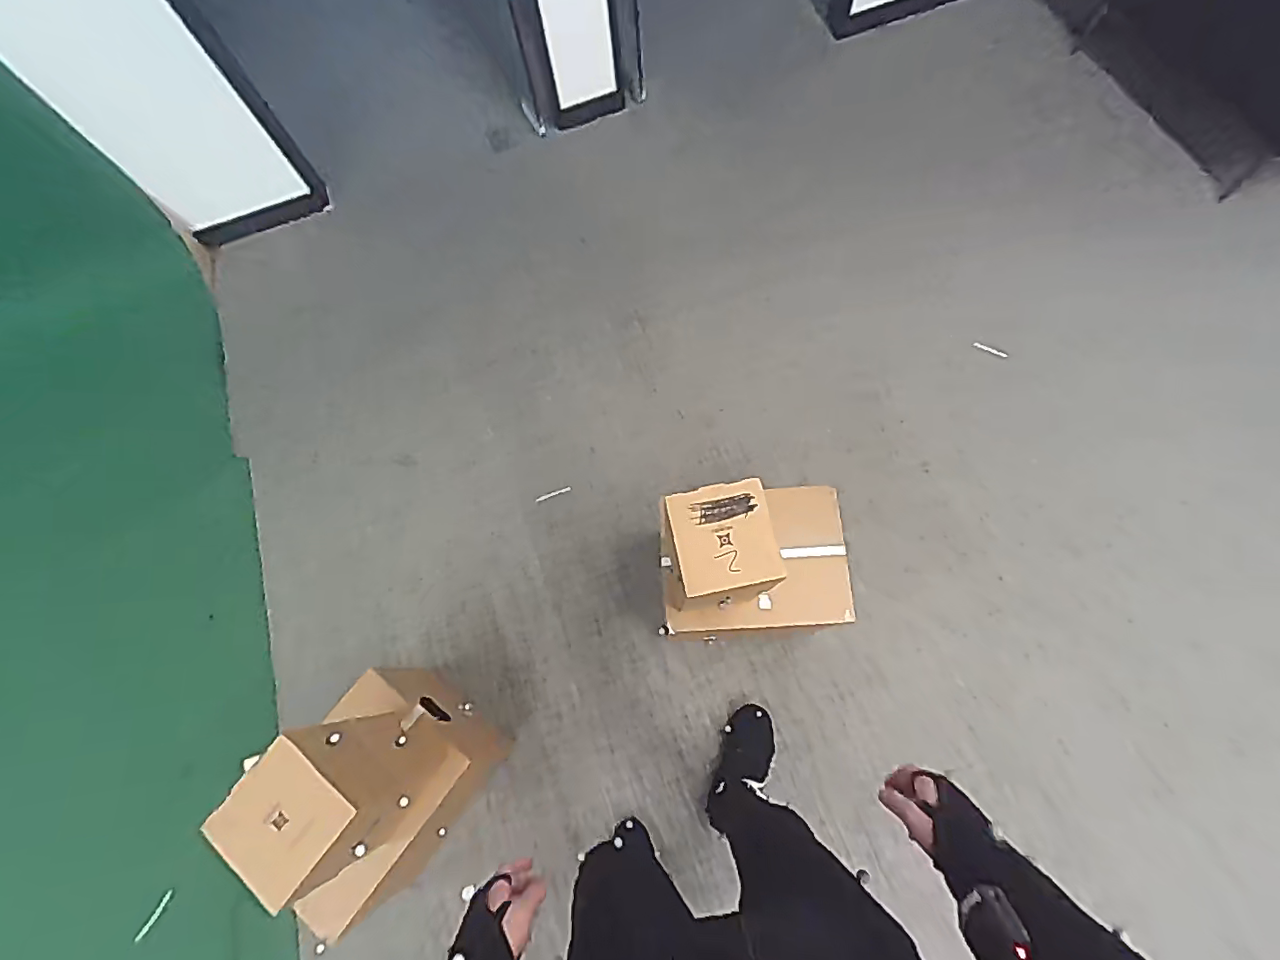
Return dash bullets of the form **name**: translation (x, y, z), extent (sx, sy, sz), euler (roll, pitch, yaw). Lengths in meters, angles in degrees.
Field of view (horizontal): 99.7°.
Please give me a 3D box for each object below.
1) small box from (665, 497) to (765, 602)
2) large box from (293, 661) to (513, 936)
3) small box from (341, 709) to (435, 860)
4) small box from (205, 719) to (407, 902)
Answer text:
- **small box**: translation (0.148, 0.152, 1.114), extent (0.168, 0.176, 0.179), euler (-11, 72, 0)
- **large box**: translation (-0.565, 0.676, 1.242), extent (0.320, 0.320, 0.408), euler (34, 77, 16)
- **small box**: translation (-0.515, 0.556, 1.019), extent (0.168, 0.176, 0.179), euler (34, 77, 14)
- **small box**: translation (-0.518, 0.506, 0.864), extent (0.179, 0.176, 0.168), euler (36, 78, 14)
